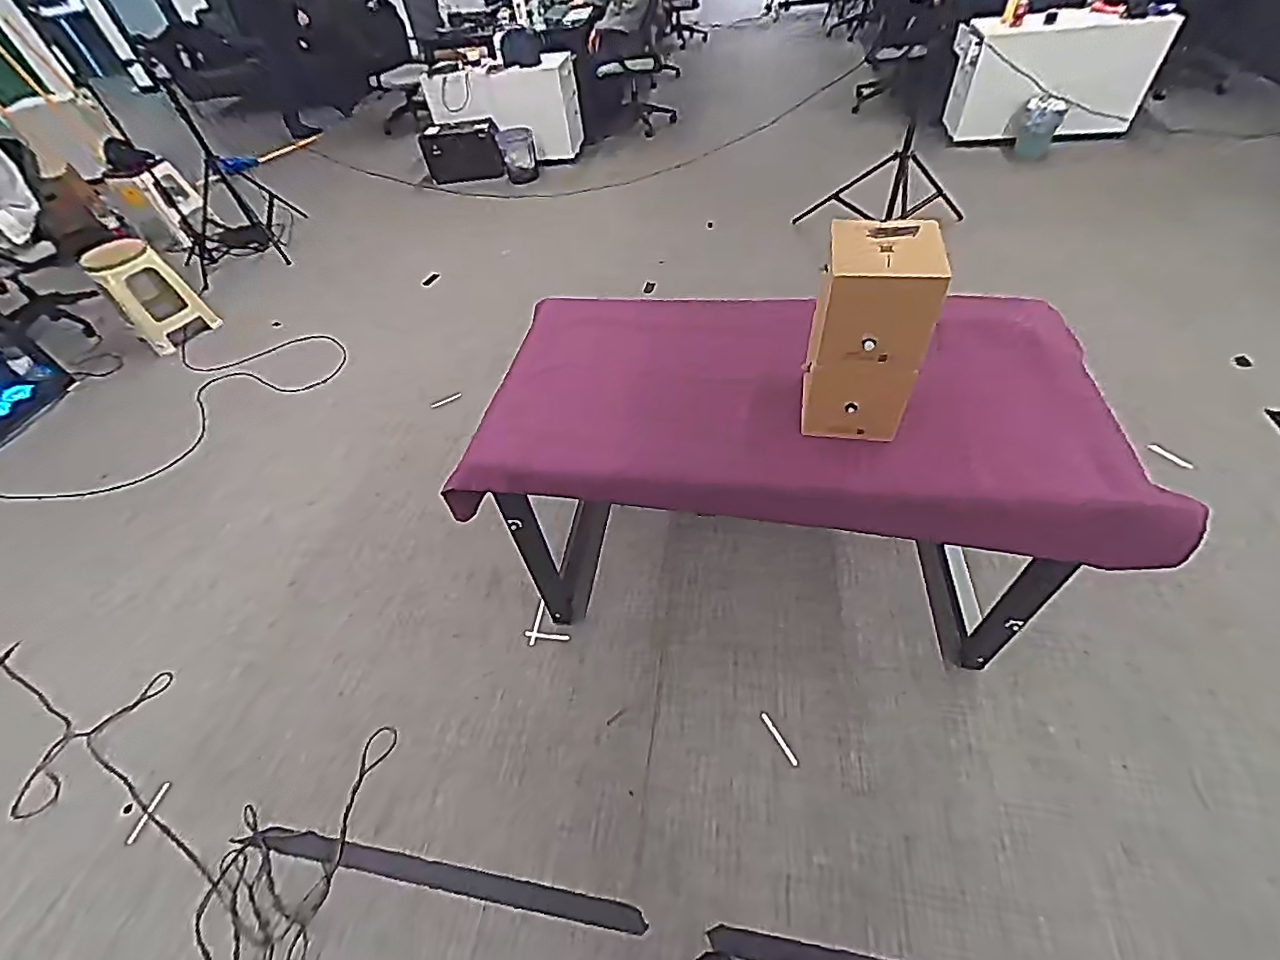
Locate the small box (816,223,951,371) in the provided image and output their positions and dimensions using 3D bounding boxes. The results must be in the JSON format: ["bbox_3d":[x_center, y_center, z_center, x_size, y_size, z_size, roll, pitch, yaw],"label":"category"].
[{"bbox_3d":[0.389,-0.304,0.896,0.168,0.176,0.179,6,51,12],"label":"small box"}]

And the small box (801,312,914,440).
[{"bbox_3d":[0.400,-0.194,1.018,0.168,0.176,0.179,6,50,12],"label":"small box"}]
